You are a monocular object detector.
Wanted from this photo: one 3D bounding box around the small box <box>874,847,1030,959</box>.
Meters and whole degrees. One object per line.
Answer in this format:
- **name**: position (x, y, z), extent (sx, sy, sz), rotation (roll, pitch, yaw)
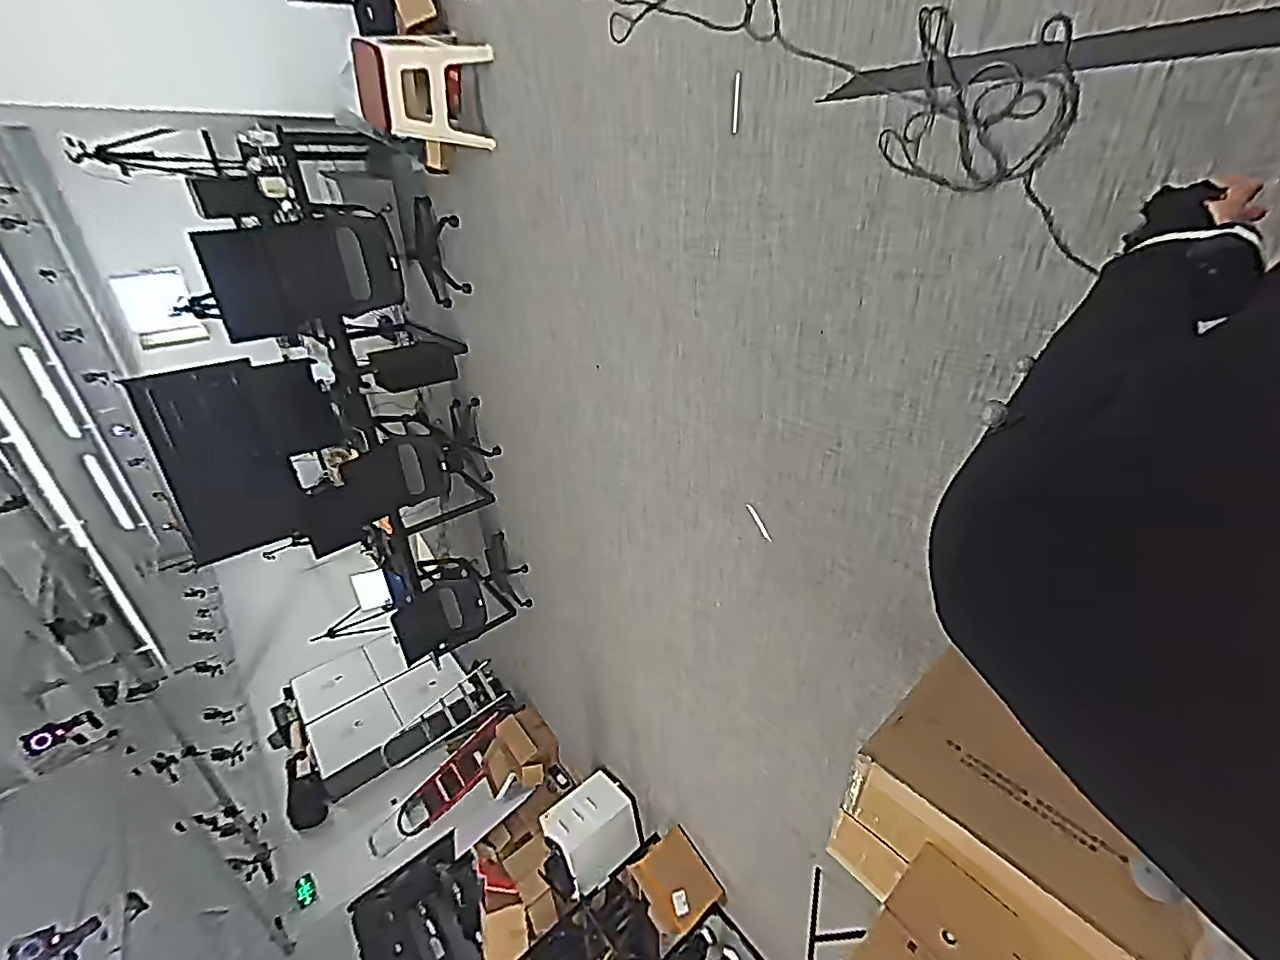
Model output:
- **small box**: position (0.566, 0.829, 0.986), extent (0.179, 0.176, 0.168), rotation (32, 133, 42)
